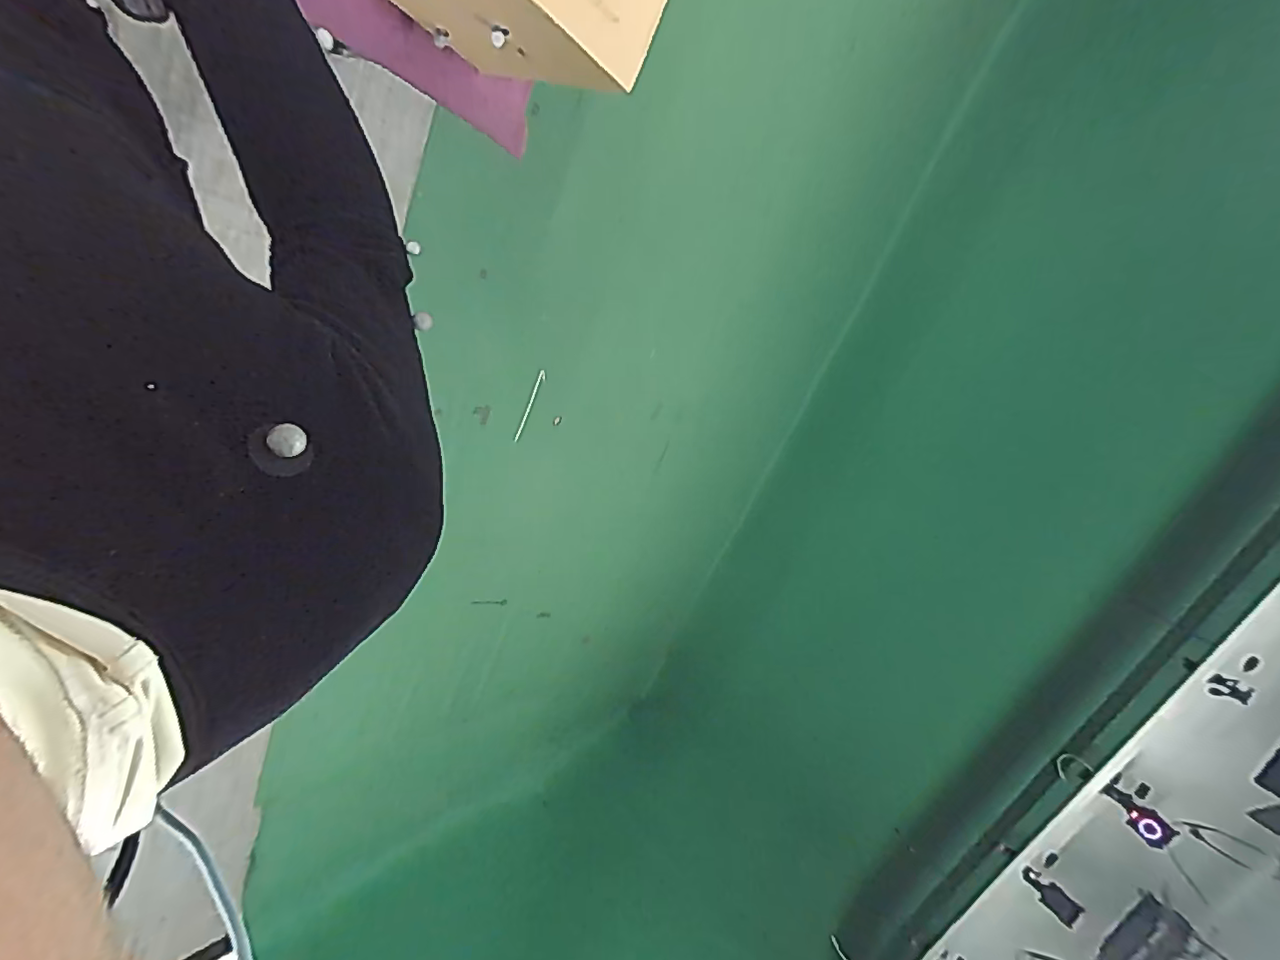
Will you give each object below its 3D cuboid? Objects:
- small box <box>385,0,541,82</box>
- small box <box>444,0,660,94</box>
[{"bbox_3d":[-0.203,-0.635,0.662,0.179,0.176,0.168,5,115,-54],"label":"small box"},{"bbox_3d":[-0.088,-0.559,0.575,0.168,0.176,0.179,6,115,-52],"label":"small box"}]
